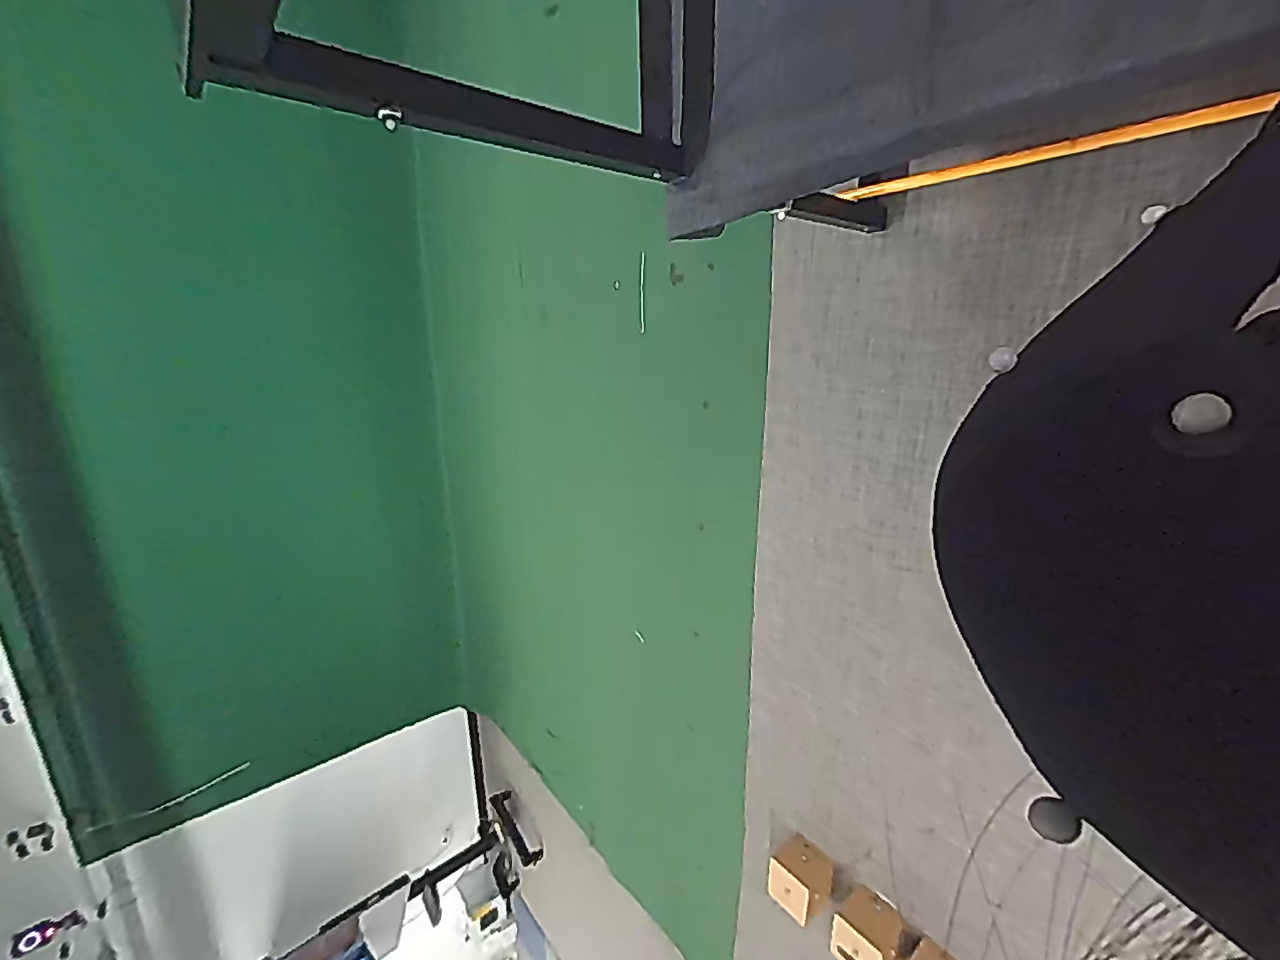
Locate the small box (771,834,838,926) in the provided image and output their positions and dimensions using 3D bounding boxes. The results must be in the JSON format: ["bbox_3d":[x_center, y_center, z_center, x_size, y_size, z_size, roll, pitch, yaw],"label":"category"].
[{"bbox_3d":[0.605,1.458,1.985,0.168,0.176,0.179,19,114,49],"label":"small box"}]

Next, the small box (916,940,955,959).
[{"bbox_3d":[0.905,1.555,1.622,0.168,0.176,0.179,16,113,48],"label":"small box"}]
